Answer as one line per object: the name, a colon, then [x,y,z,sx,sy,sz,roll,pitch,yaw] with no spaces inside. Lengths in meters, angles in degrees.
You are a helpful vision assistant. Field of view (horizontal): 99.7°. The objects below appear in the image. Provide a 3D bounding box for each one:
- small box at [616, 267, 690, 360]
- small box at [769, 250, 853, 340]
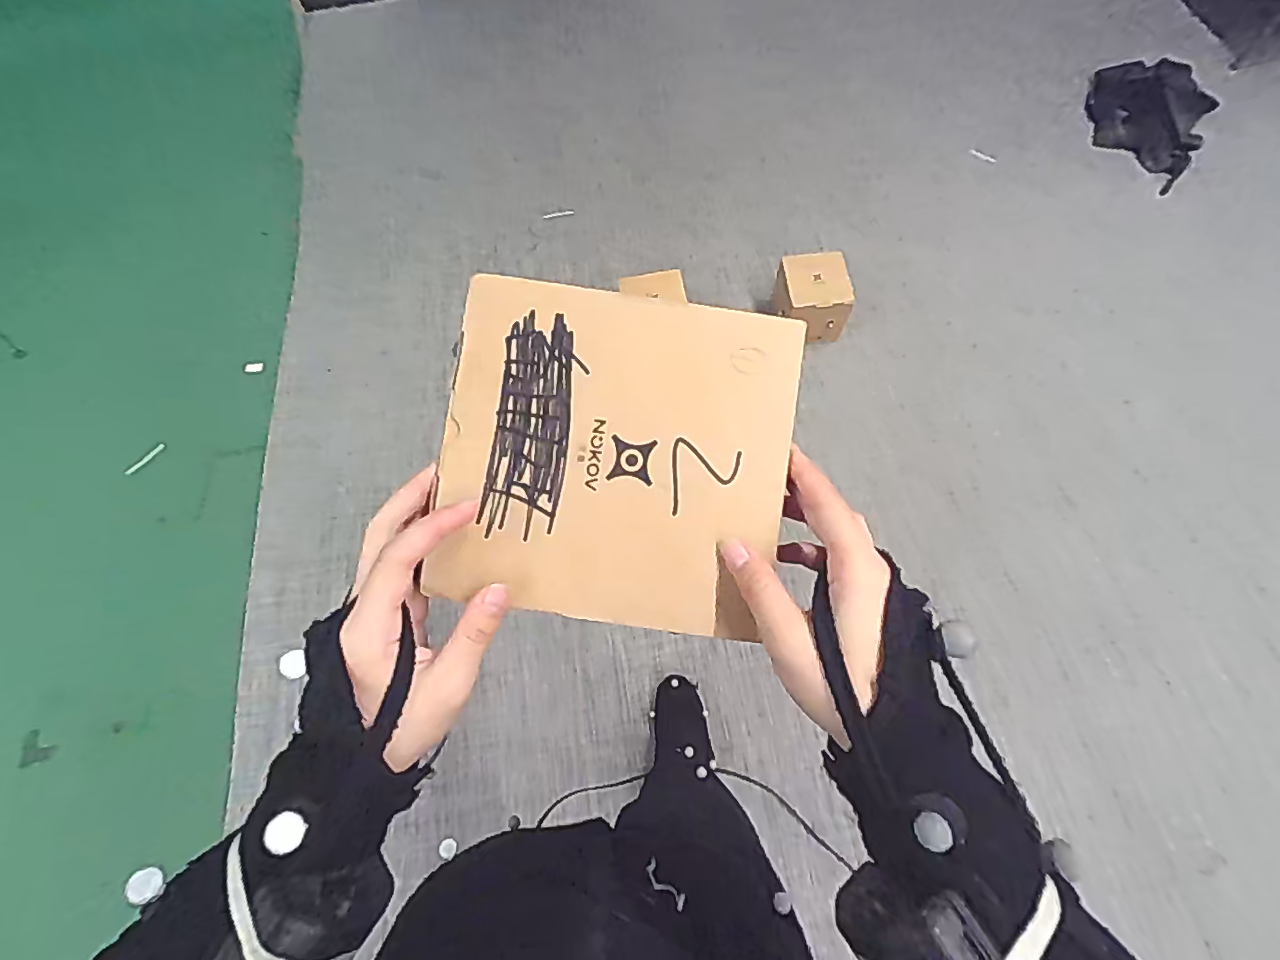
small box: [0.035,-0.454,1.490,0.179,0.176,0.168,-9,68,-1]
small box: [0.464,-0.500,1.490,0.168,0.176,0.179,-5,67,-1]
